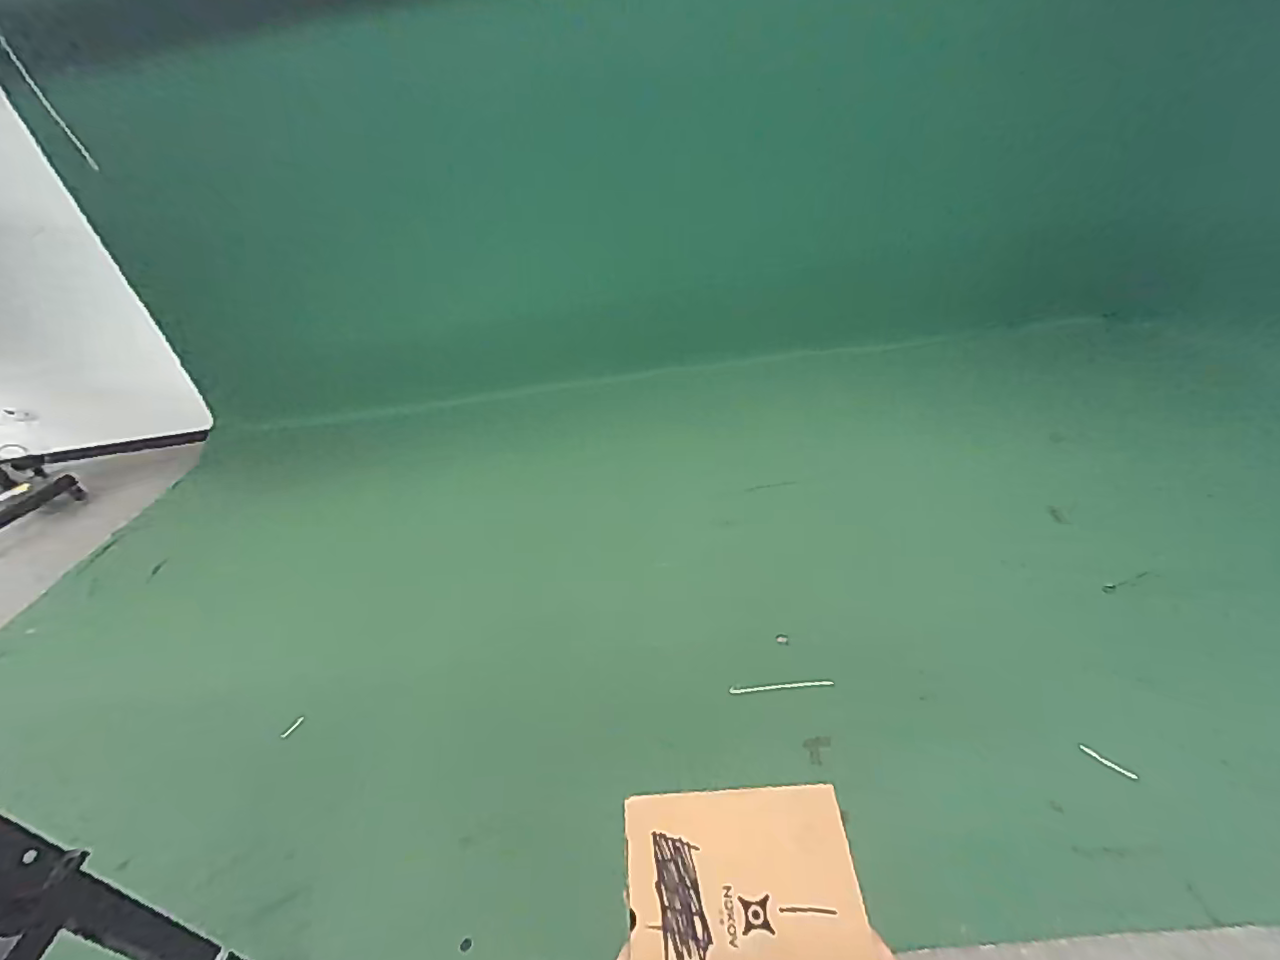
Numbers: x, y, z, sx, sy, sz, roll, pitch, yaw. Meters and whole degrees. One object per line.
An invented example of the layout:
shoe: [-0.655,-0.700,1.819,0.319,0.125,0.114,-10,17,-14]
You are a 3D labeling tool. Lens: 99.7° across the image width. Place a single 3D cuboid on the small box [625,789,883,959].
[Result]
small box: [0.084,0.369,0.435,0.179,0.176,0.168,-5,43,3]
